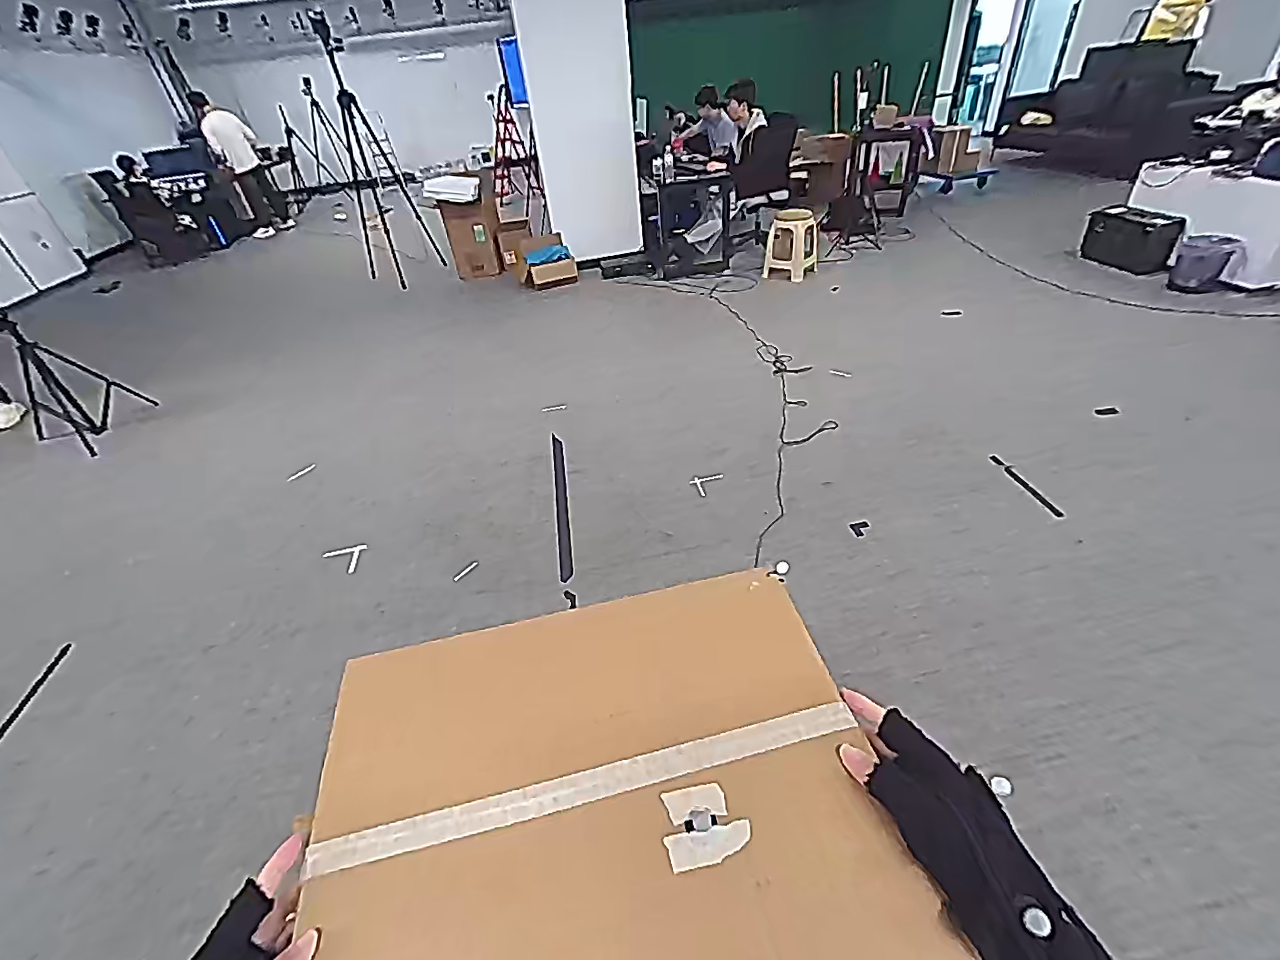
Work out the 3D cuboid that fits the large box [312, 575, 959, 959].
[{"bbox_3d":[-0.022,0.342,0.509,0.408,0.320,0.320,-11,43,-8],"label":"large box"}]
